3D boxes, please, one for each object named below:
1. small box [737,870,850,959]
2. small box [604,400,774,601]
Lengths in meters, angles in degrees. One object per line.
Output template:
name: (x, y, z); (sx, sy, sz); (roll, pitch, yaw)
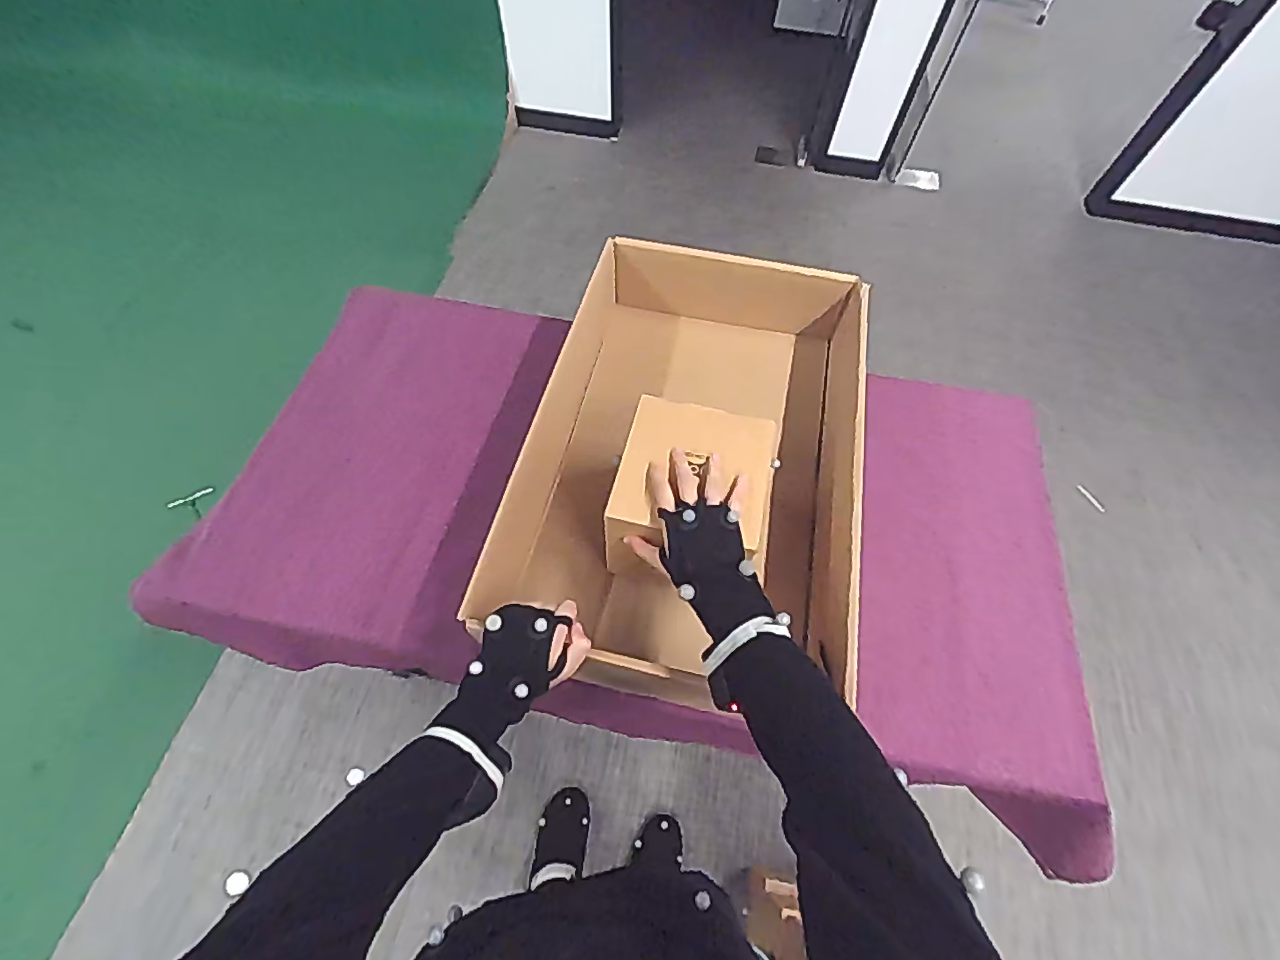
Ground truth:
small box: (0.305, 0.910, 1.087); (0.179, 0.176, 0.168); (10, 61, 4)
small box: (0.059, 0.032, 0.675); (0.168, 0.176, 0.179); (13, 59, 6)
